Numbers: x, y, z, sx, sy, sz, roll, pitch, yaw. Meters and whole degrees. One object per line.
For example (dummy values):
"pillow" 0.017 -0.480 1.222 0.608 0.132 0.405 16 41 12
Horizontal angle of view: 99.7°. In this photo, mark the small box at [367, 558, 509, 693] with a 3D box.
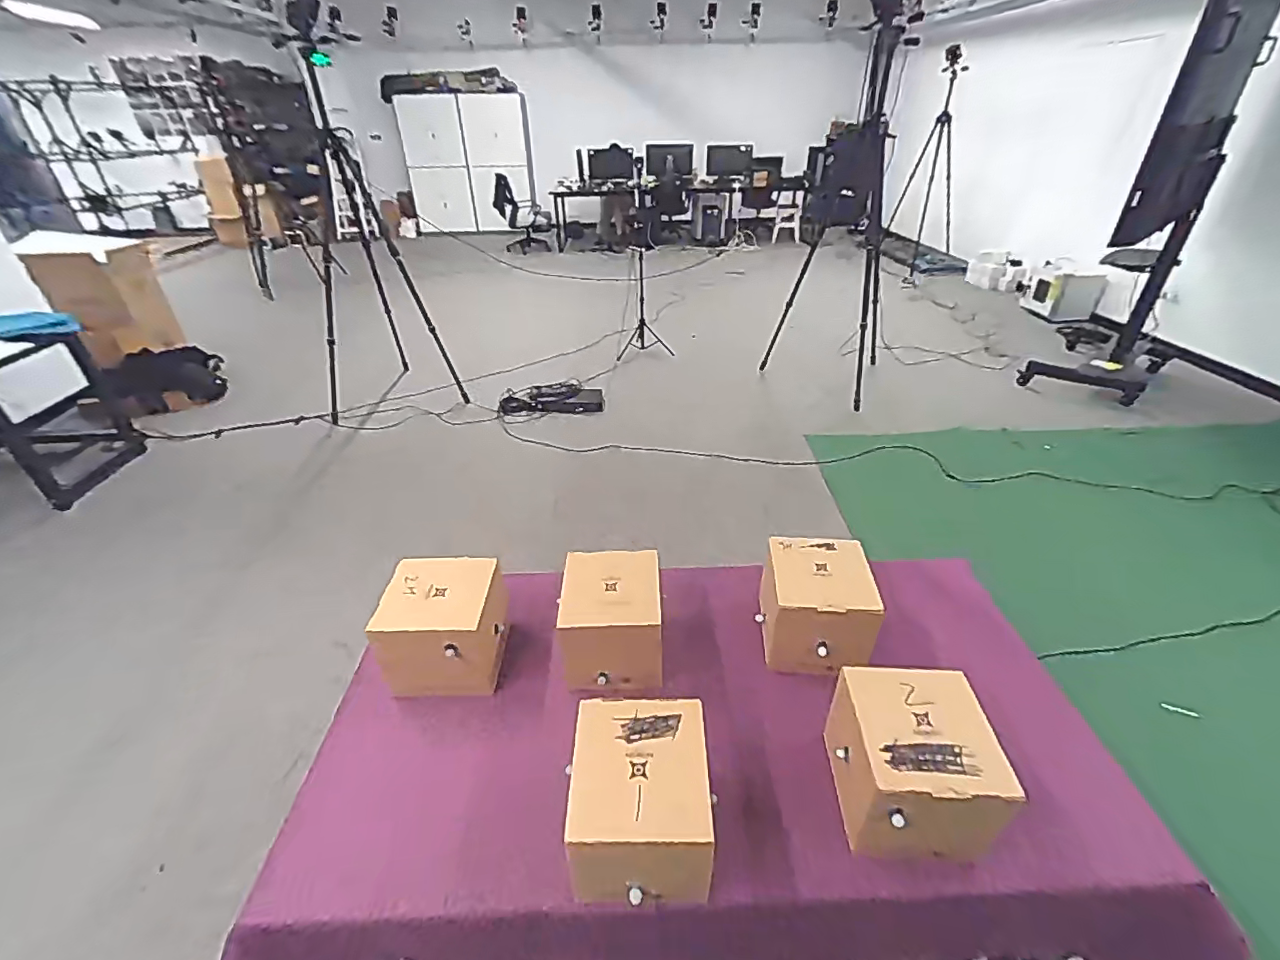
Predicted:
"small box" -0.336 0.254 0.945 0.179 0.176 0.168 -1 34 1

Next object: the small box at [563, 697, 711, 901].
"small box" -0.001 0.407 0.701 0.168 0.176 0.179 -1 34 2

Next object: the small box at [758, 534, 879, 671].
"small box" 0.307 0.219 0.966 0.168 0.176 0.179 2 35 5

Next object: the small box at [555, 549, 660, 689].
"small box" -0.049 0.242 0.953 0.168 0.176 0.179 -2 34 1
